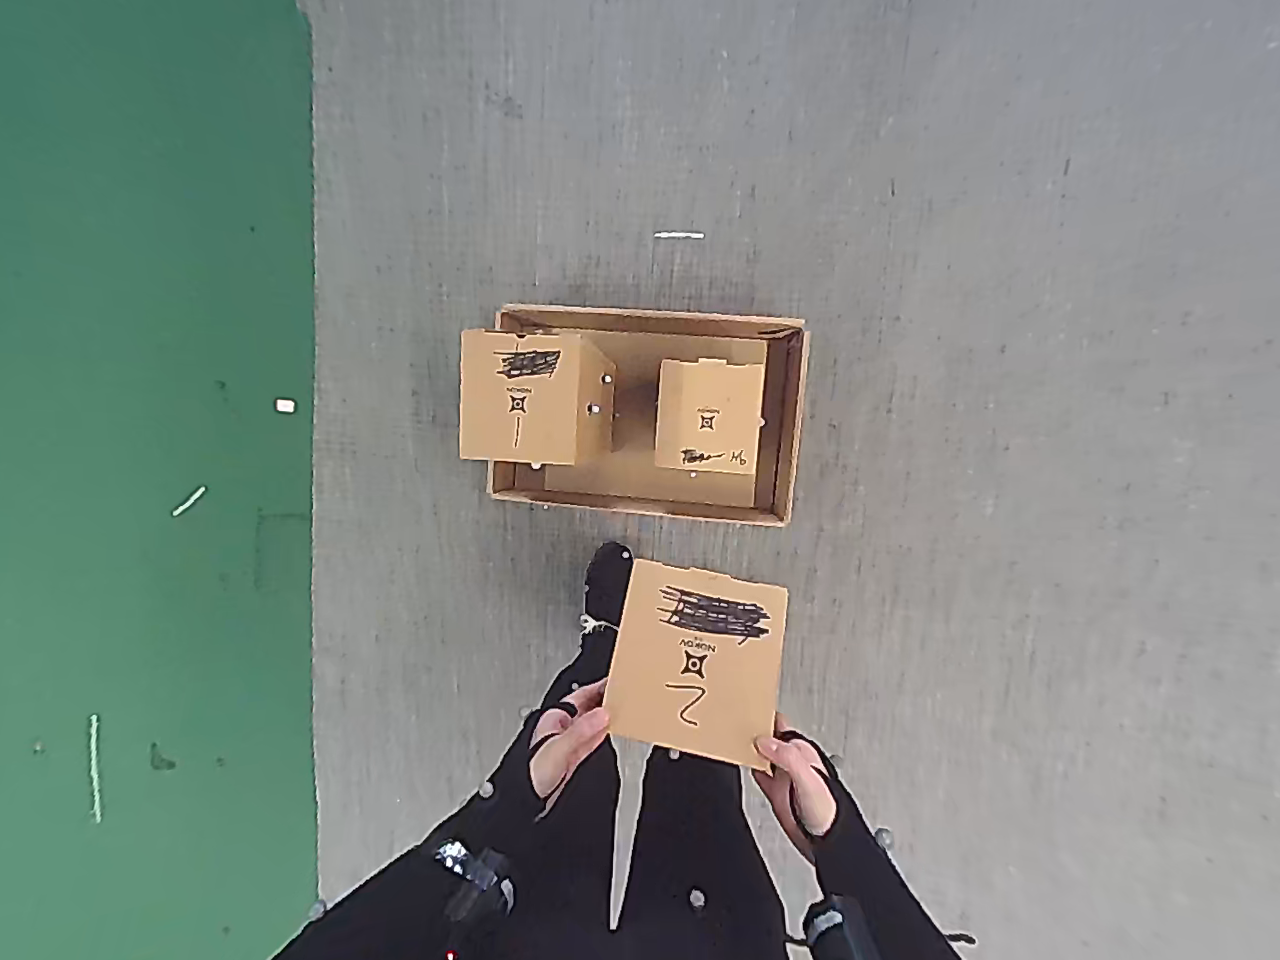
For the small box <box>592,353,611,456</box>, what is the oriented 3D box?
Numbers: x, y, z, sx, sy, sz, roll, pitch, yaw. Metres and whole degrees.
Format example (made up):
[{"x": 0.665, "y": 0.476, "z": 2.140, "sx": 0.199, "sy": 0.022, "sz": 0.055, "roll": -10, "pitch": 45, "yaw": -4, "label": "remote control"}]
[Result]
[{"x": -0.146, "y": -0.133, "z": 0.965, "sx": 0.168, "sy": 0.176, "sz": 0.179, "roll": 4, "pitch": 95, "yaw": 5, "label": "small box"}]

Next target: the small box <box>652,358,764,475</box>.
[{"x": 0.116, "y": -0.107, "z": 0.940, "sx": 0.168, "sy": 0.176, "sz": 0.179, "roll": 5, "pitch": 95, "yaw": 7, "label": "small box"}]

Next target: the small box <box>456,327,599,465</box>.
[{"x": -0.157, "y": -0.119, "z": 0.801, "sx": 0.168, "sy": 0.176, "sz": 0.179, "roll": 4, "pitch": 96, "yaw": 5, "label": "small box"}]

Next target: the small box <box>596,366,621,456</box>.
[{"x": -0.135, "y": -0.147, "z": 1.125, "sx": 0.168, "sy": 0.176, "sz": 0.179, "roll": 5, "pitch": 95, "yaw": 4, "label": "small box"}]
